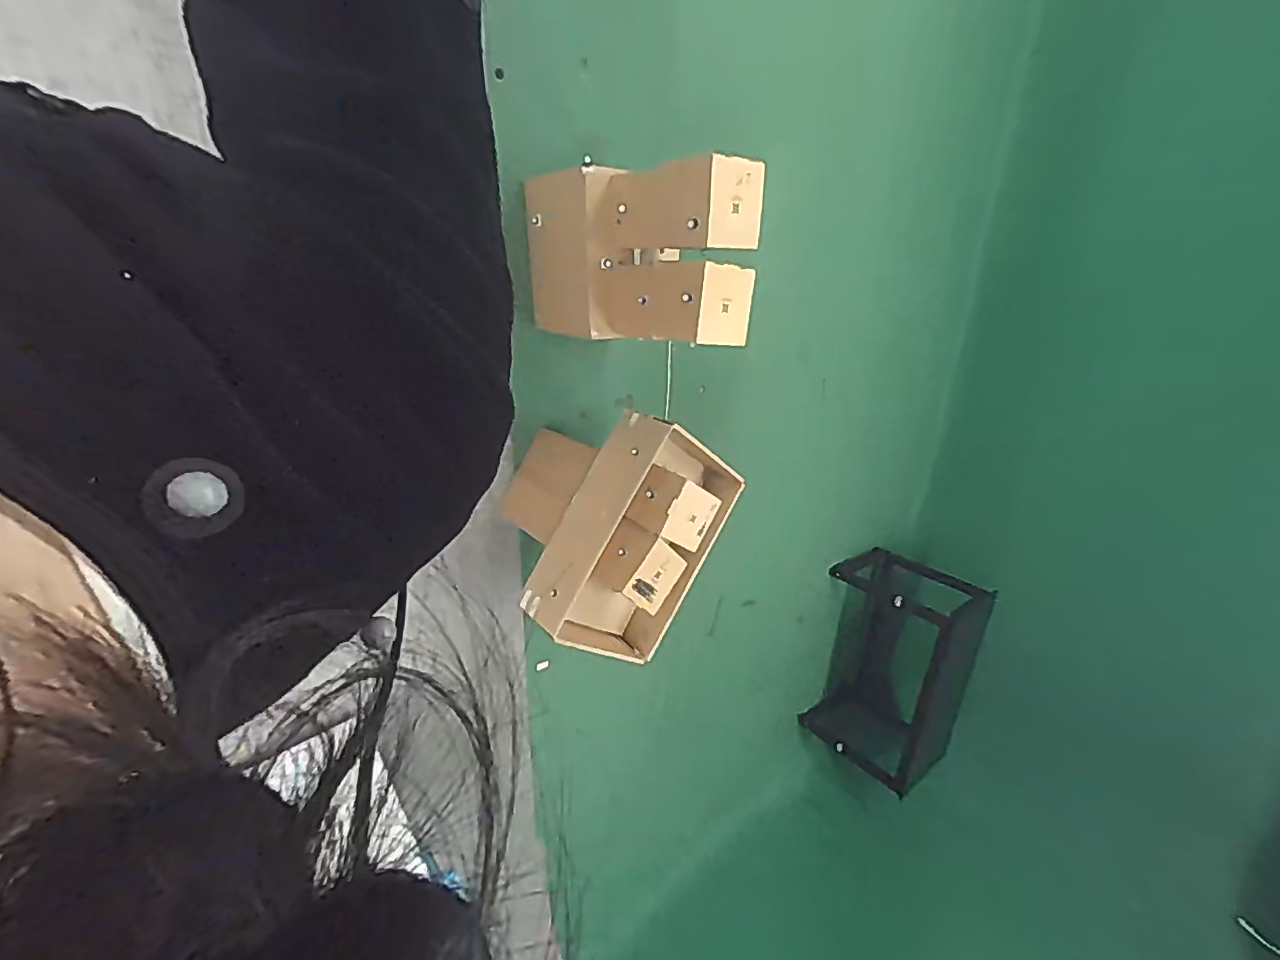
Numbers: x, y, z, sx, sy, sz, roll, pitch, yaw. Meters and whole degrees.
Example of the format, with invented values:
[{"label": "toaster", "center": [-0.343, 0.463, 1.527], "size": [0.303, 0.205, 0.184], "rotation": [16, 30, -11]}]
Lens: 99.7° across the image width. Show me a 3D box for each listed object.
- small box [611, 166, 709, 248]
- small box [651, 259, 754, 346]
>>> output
[{"label": "small box", "center": [0.048, -0.661, 1.324], "size": [0.179, 0.176, 0.168], "rotation": [-19, 119, -34]}, {"label": "small box", "center": [0.142, -0.419, 1.280], "size": [0.168, 0.176, 0.179], "rotation": [-8, 111, -37]}]
